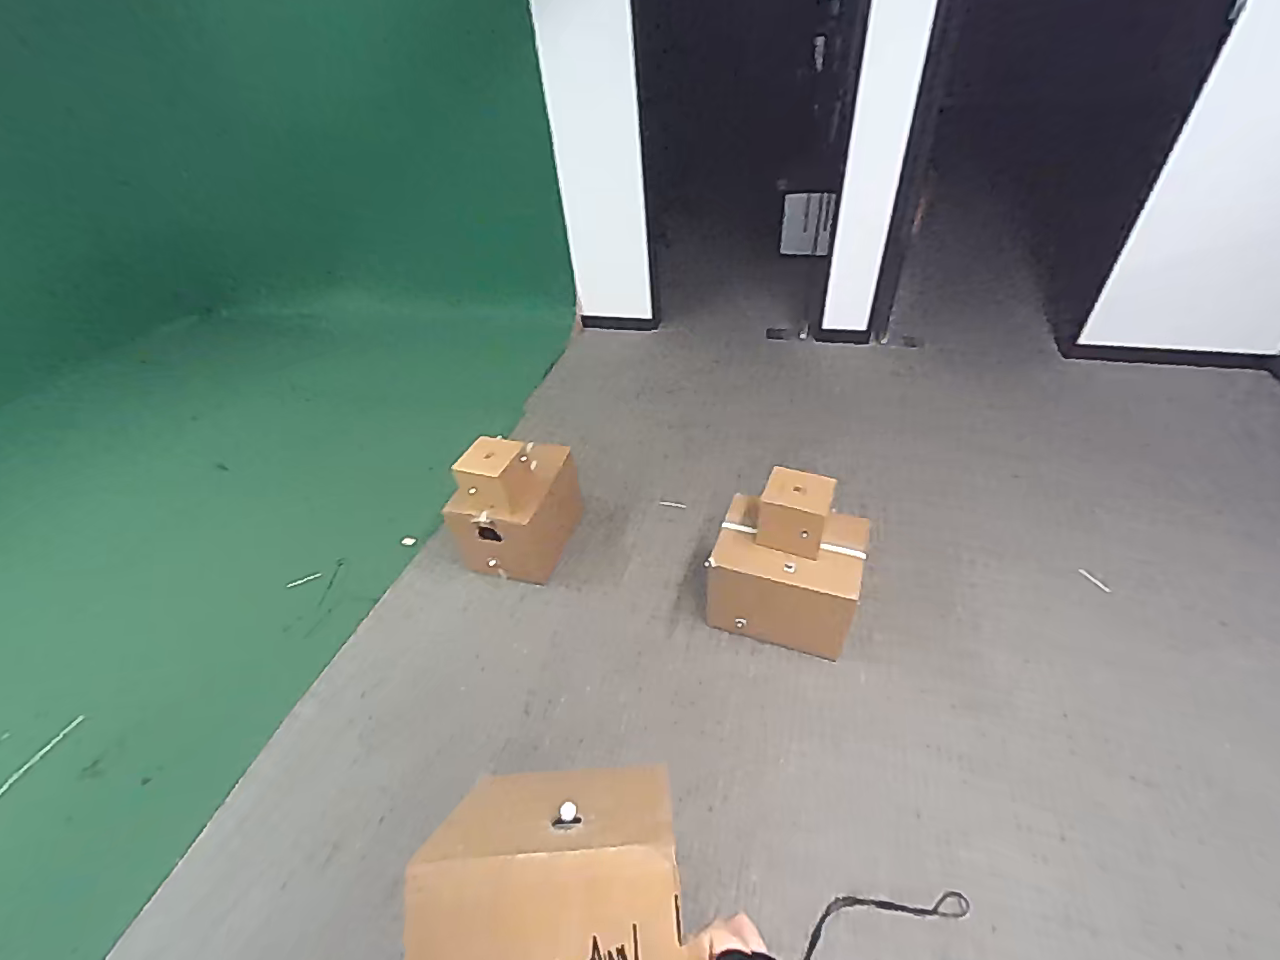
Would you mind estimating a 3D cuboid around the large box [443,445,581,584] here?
[{"bbox_3d":[-0.440,0.118,1.968,0.320,0.320,0.408,7,42,15],"label":"large box"}]

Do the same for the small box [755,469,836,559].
[{"bbox_3d":[0.435,0.098,1.521,0.179,0.176,0.168,14,42,21],"label":"small box"}]

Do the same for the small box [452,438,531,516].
[{"bbox_3d":[-0.468,-0.009,1.742,0.168,0.176,0.179,10,42,16],"label":"small box"}]
